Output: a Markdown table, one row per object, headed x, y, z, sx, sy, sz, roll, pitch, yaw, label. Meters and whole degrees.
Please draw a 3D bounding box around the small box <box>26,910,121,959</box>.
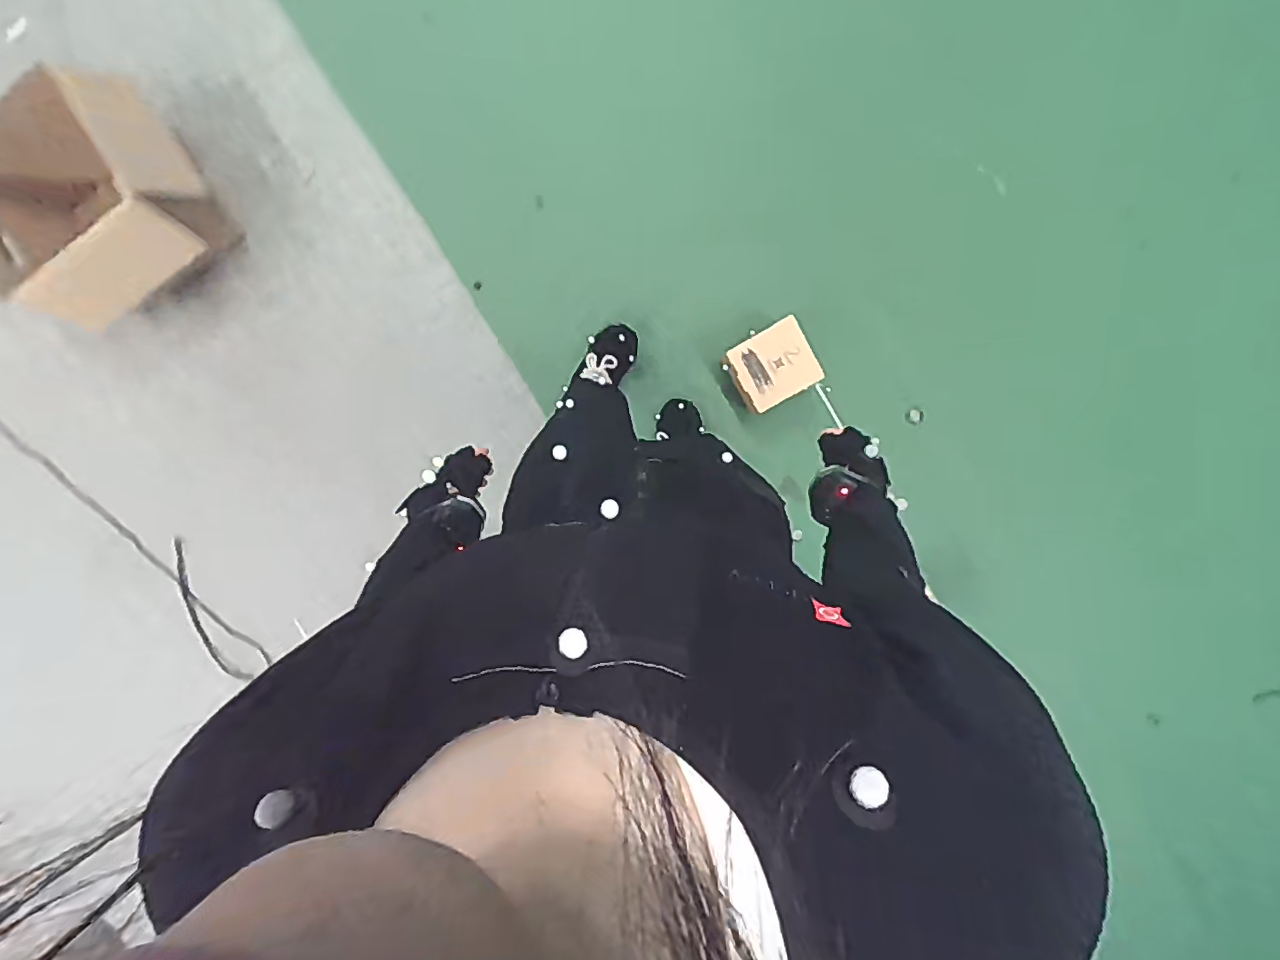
| x | y | z | sx | sy | sz | roll | pitch | yaw | label |
| --- | --- | --- | --- | --- | --- | --- | --- | --- | --- |
| -1.925 | 1.611 | 1.815 | 0.179 | 0.176 | 0.168 | -33 | 98 | 8 | small box |
